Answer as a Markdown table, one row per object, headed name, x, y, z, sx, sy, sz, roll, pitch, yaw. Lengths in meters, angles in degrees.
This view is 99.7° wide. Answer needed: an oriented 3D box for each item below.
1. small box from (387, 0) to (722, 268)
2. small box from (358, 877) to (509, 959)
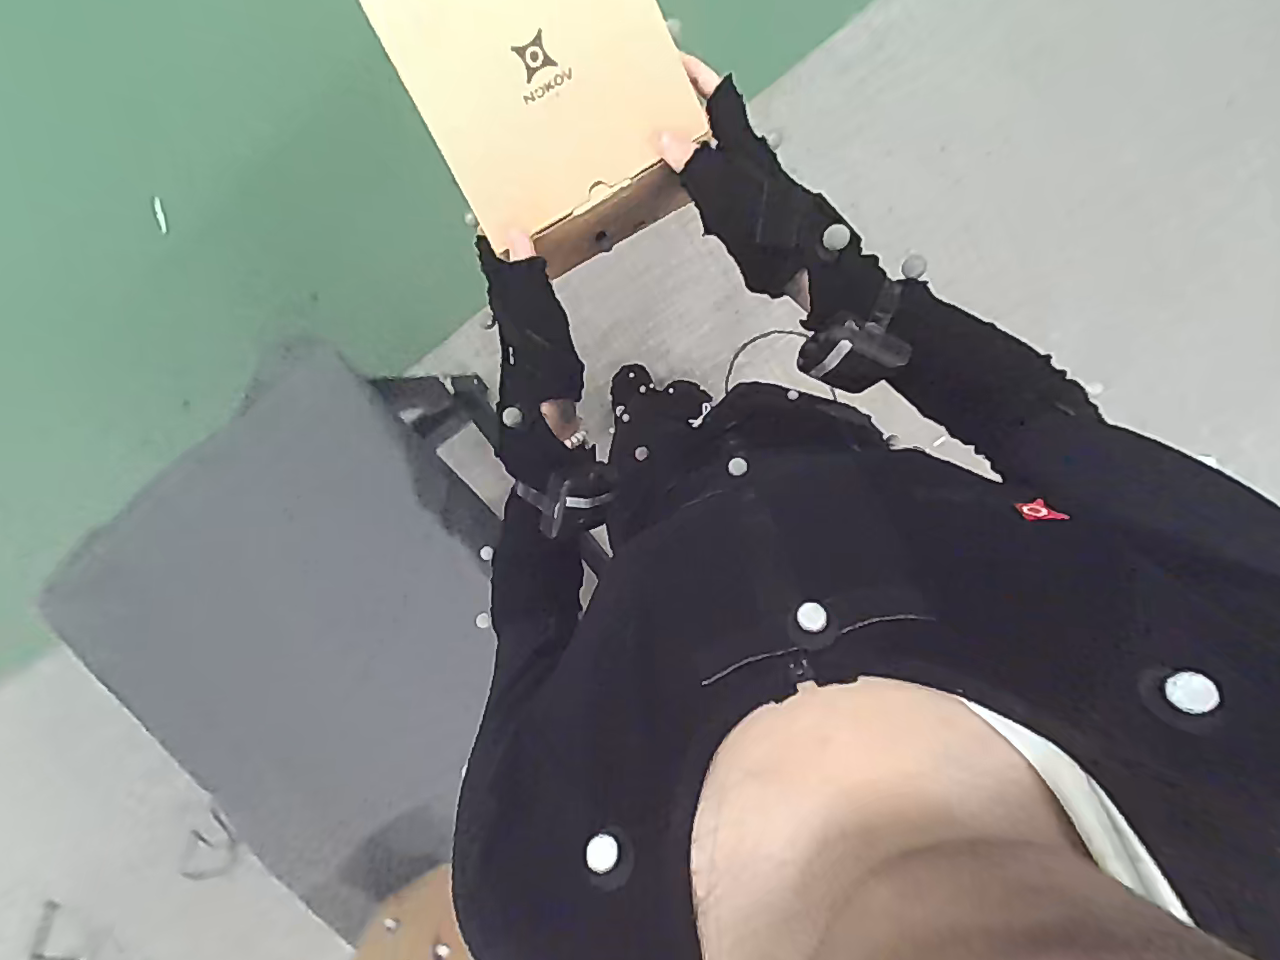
| name | x | y | z | sx | sy | sz | roll | pitch | yaw |
| --- | --- | --- | --- | --- | --- | --- | --- | --- | --- |
| small box | -0.054 | -0.289 | 0.422 | 0.168 | 0.176 | 0.179 | -25 | 104 | 8 |
| small box | -0.338 | 0.780 | 0.858 | 0.168 | 0.176 | 0.179 | -36 | 98 | 8 |
